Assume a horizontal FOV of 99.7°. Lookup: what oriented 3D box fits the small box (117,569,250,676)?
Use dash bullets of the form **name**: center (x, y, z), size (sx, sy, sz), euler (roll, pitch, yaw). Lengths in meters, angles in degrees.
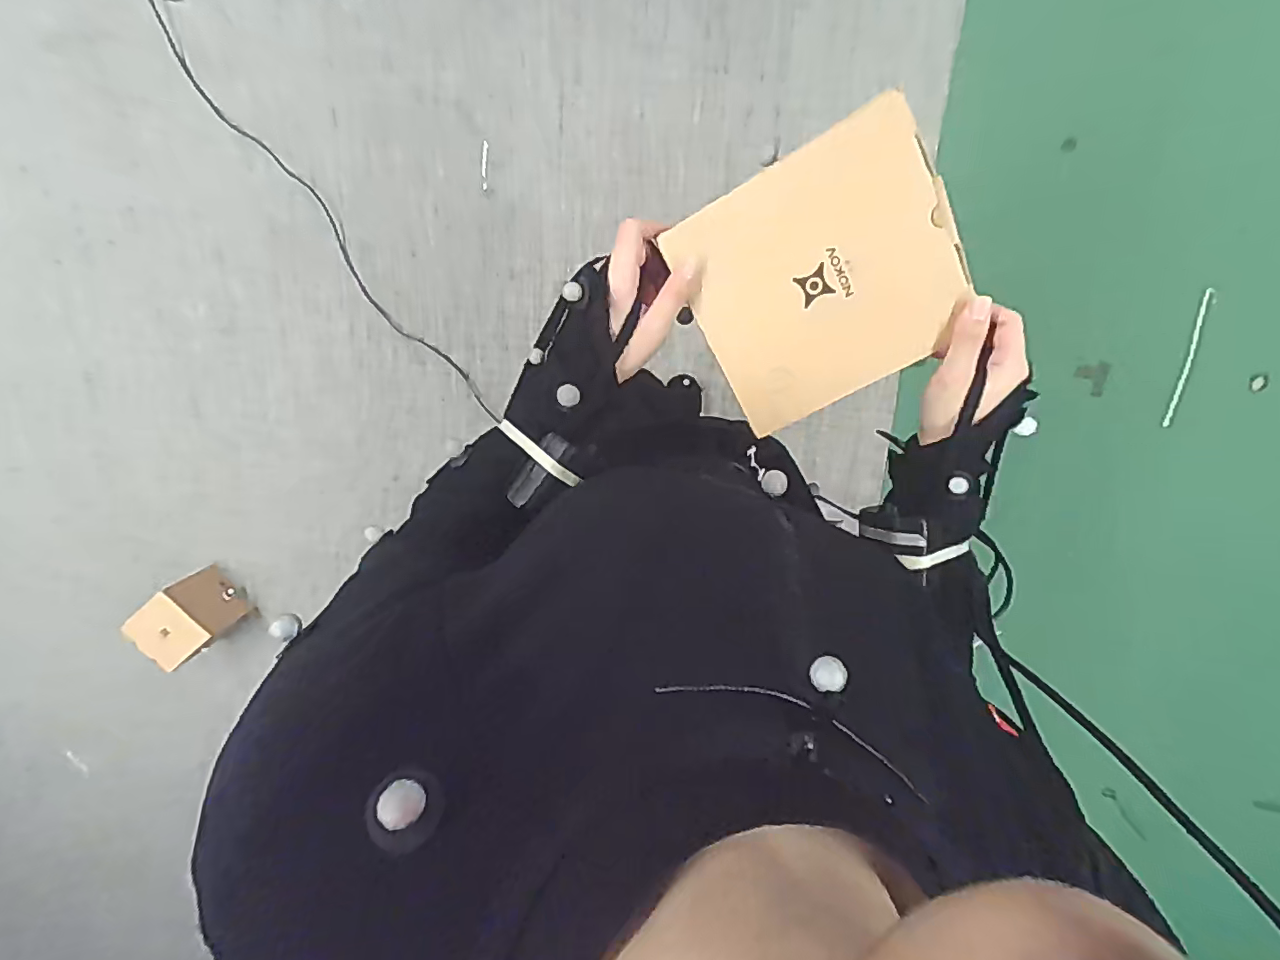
- **small box**: center (-1.190, 0.369, 1.425), size (0.179, 0.176, 0.168), euler (-39, 101, 10)
